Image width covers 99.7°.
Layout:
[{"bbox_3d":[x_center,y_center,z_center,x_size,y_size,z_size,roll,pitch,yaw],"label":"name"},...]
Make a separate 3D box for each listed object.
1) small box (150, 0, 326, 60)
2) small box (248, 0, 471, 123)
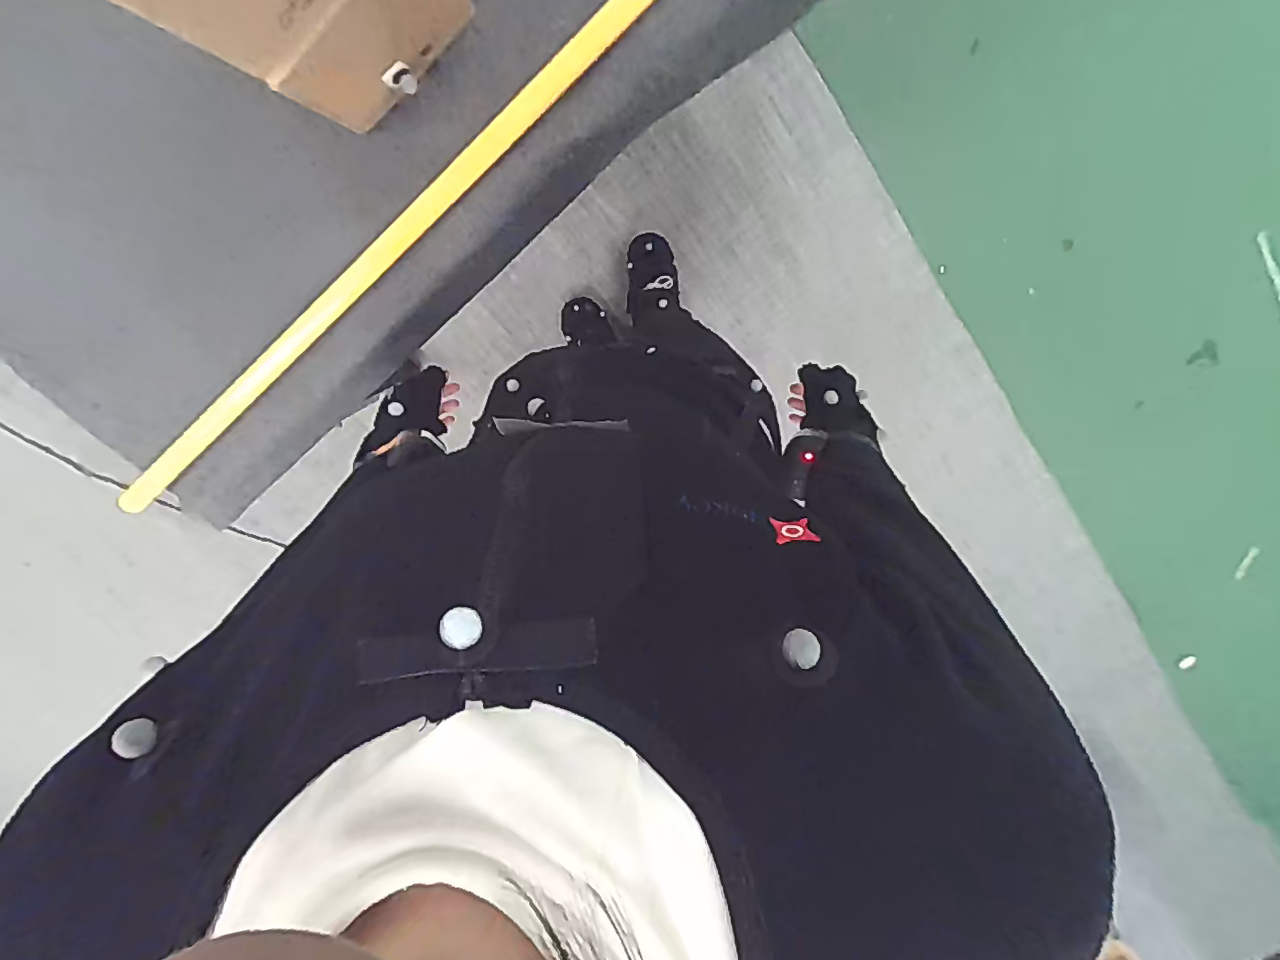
[{"bbox_3d":[-0.271,-0.384,0.288,0.168,0.176,0.179,-35,108,12],"label":"small box"},{"bbox_3d":[-0.272,-0.440,0.443,0.168,0.176,0.179,-39,108,14],"label":"small box"}]
